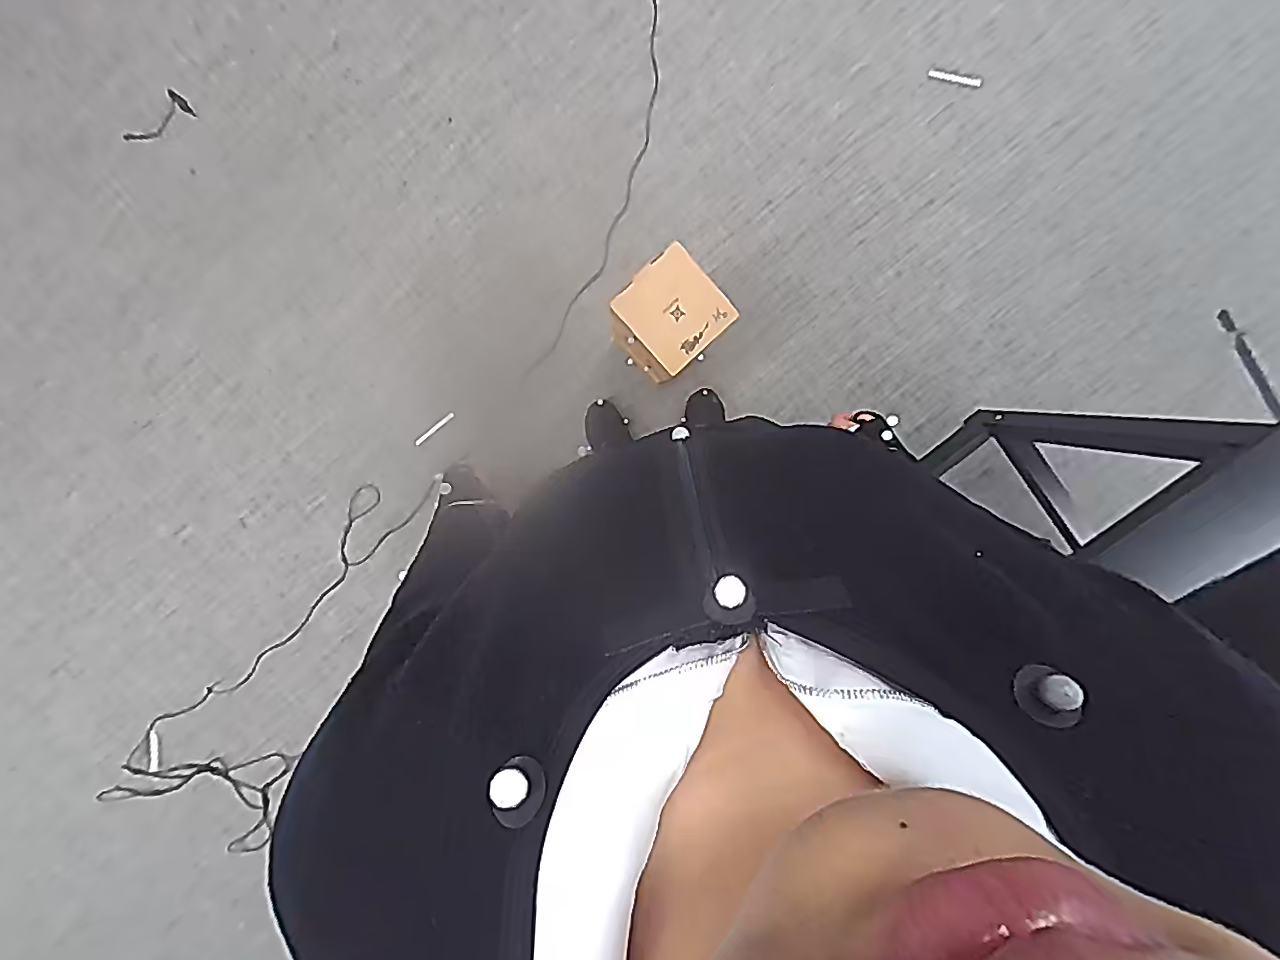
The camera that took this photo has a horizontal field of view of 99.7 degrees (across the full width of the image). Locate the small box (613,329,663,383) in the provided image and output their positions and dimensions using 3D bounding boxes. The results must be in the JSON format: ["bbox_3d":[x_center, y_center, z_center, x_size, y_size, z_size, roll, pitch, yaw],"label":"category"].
[{"bbox_3d":[0.049,-0.362,1.364,0.179,0.176,0.168,-42,97,6],"label":"small box"}]

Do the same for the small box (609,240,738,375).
[{"bbox_3d":[0.058,-0.317,1.041,0.168,0.176,0.179,-42,97,5],"label":"small box"}]

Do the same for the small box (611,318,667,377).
[{"bbox_3d":[0.054,-0.344,1.203,0.168,0.176,0.179,44,94,-8],"label":"small box"}]
